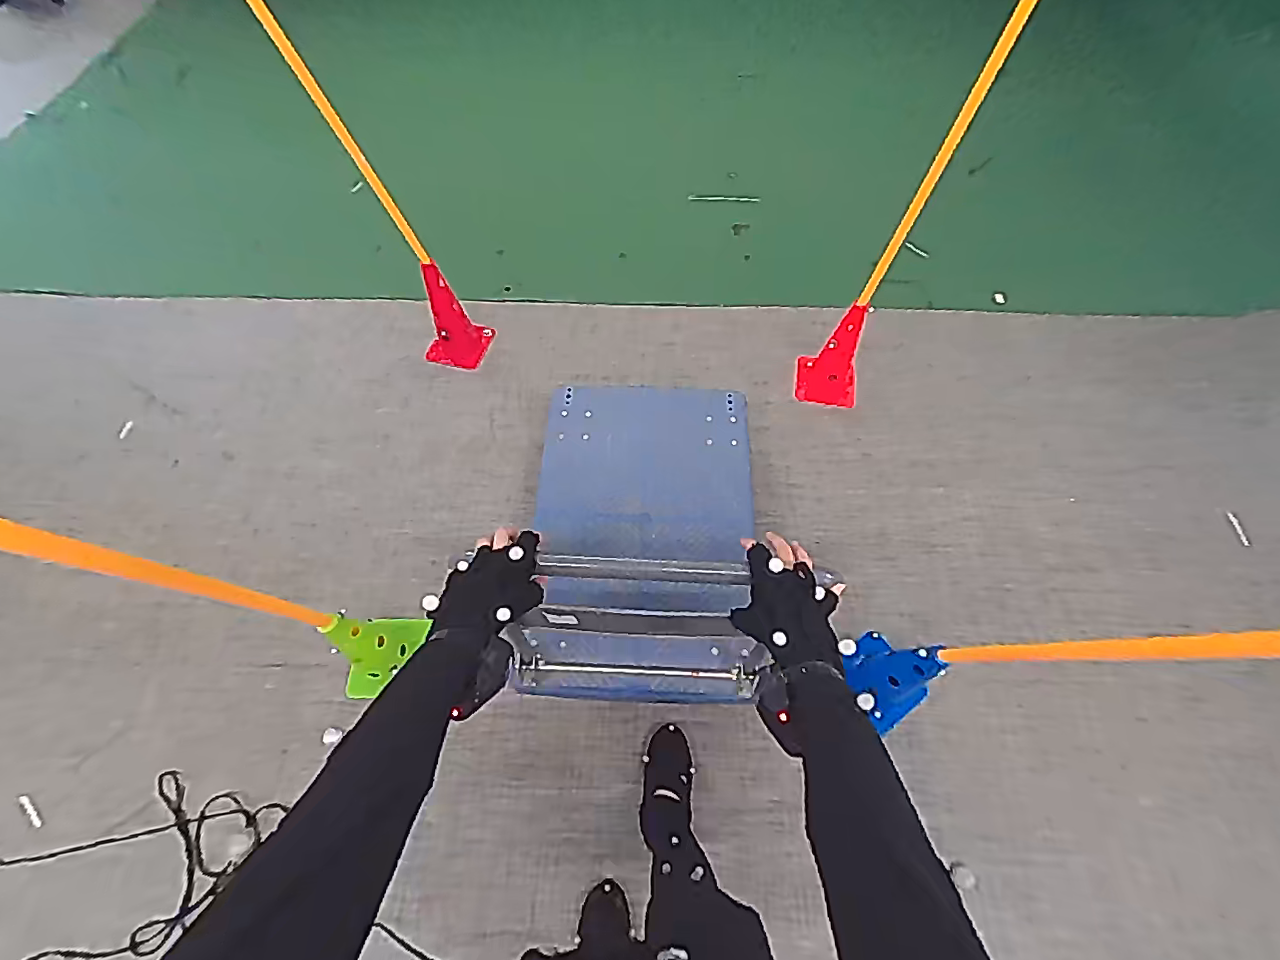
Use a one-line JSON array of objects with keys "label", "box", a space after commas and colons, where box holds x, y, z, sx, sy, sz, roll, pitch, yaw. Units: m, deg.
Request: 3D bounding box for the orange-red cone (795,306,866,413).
[{"label": "orange-red cone", "box": [0.639, -0.404, 1.716, 0.198, 0.360, 0.199, 11, 61, 7]}]
